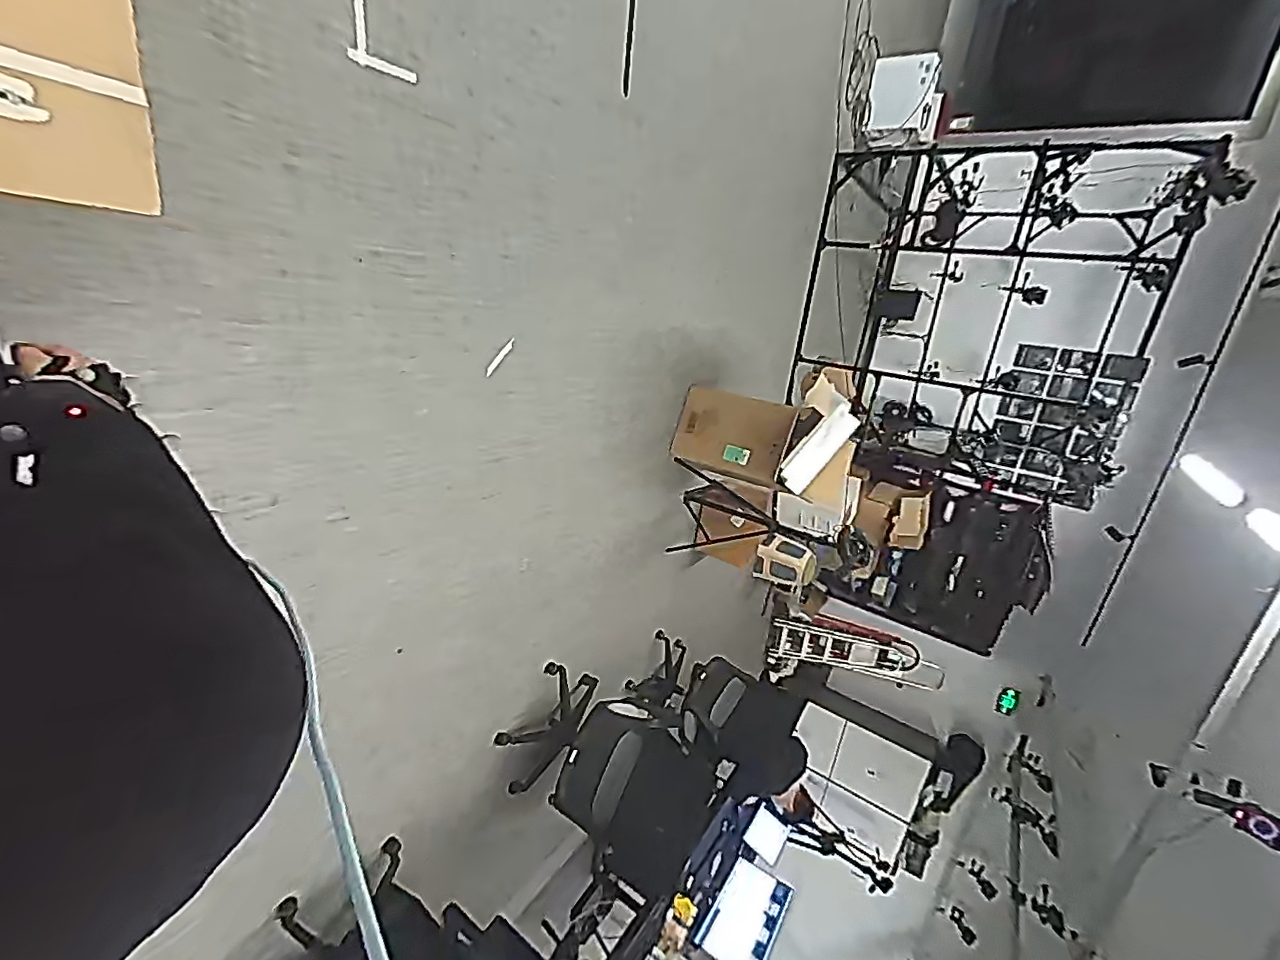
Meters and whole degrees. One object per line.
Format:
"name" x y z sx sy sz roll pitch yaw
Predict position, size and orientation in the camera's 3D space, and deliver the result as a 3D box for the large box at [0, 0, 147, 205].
"large box" -0.945 -0.546 0.665 0.408 0.320 0.320 -20 124 -55
